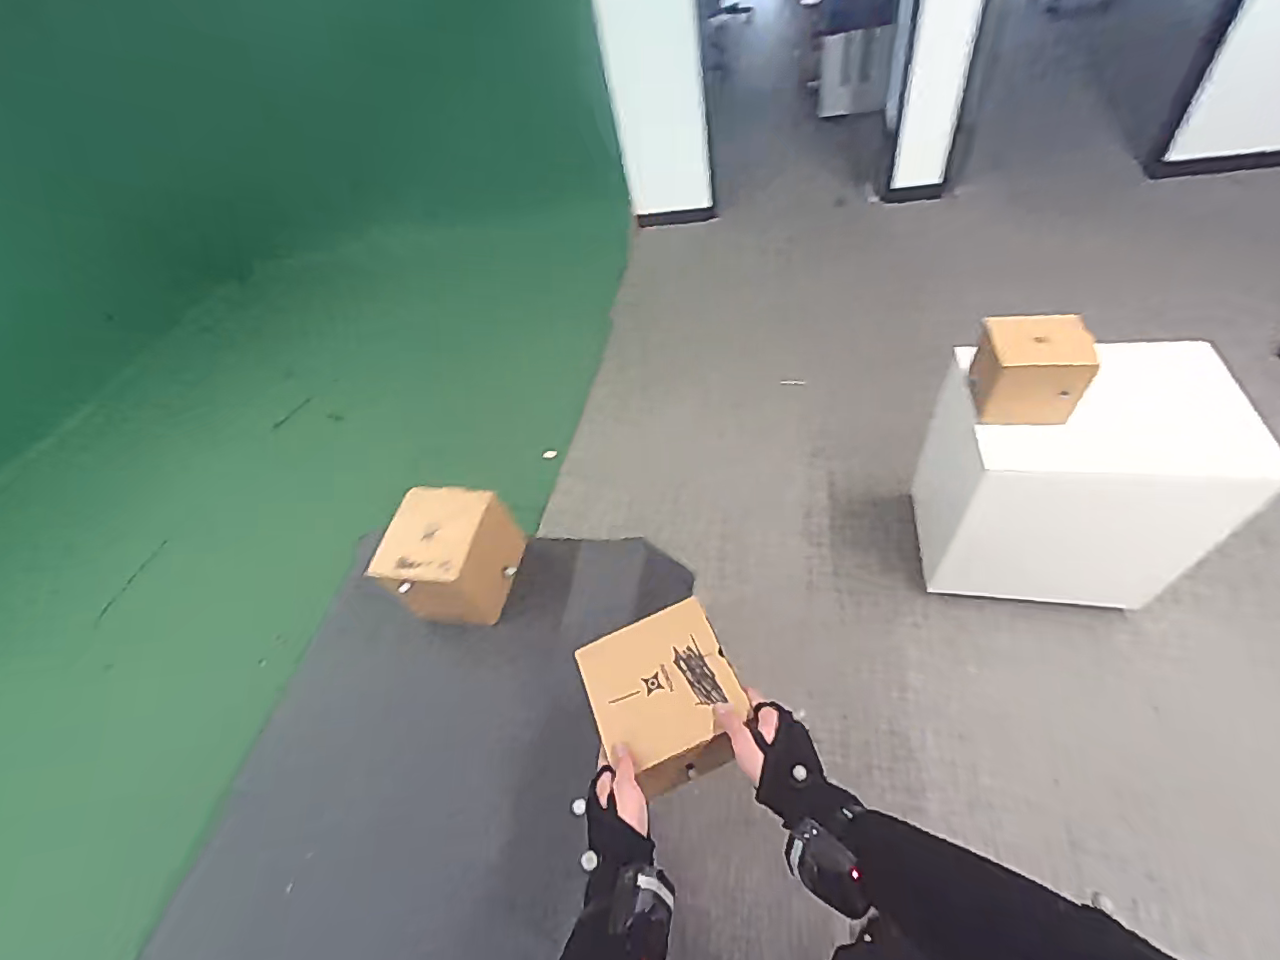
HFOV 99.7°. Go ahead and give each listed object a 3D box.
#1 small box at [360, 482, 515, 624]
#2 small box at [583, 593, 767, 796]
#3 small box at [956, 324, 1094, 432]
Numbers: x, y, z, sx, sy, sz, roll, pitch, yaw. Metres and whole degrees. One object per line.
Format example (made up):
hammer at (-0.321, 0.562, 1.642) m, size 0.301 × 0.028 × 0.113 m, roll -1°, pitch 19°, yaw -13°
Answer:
small box at (-0.335, 0.126, 0.939) m, size 0.168 × 0.176 × 0.179 m, roll 3°, pitch 51°, yaw 14°
small box at (0.046, 0.279, 0.697) m, size 0.179 × 0.176 × 0.168 m, roll -22°, pitch 51°, yaw -4°
small box at (0.817, -0.217, 1.168) m, size 0.179 × 0.176 × 0.168 m, roll 1°, pitch 50°, yaw 12°
